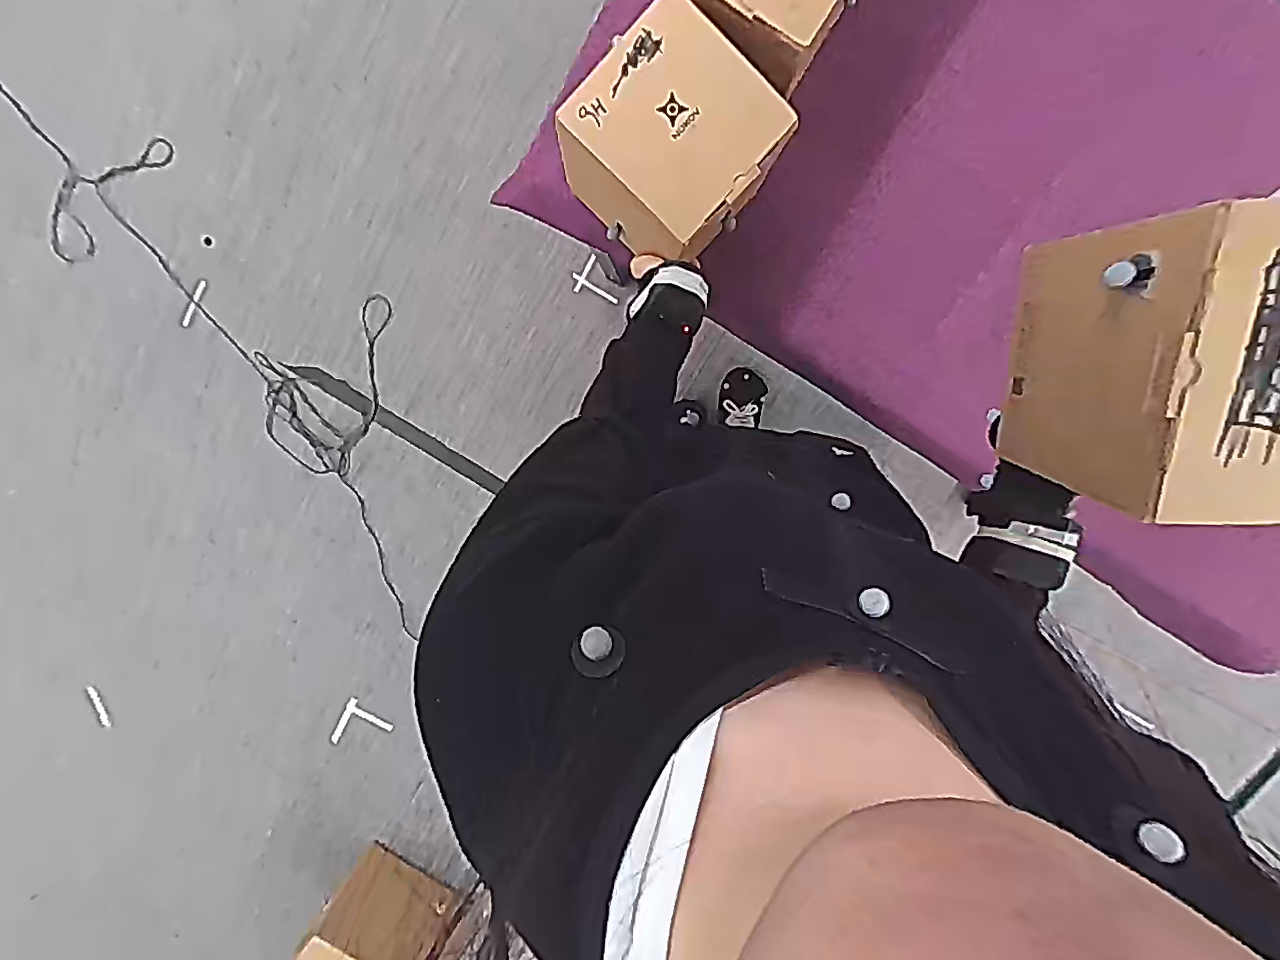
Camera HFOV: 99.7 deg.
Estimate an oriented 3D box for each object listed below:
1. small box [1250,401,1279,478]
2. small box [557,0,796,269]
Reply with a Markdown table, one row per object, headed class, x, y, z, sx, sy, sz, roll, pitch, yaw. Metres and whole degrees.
| class | x | y | z | sx | sy | sz | roll | pitch | yaw |
| --- | --- | --- | --- | --- | --- | --- | --- | --- | --- |
| small box | 0.904 | -0.048 | 0.636 | 0.168 | 0.176 | 0.179 | 36 | 99 | -4 |
| small box | 0.033 | -0.360 | 0.598 | 0.179 | 0.176 | 0.168 | 43 | 93 | -8 |
